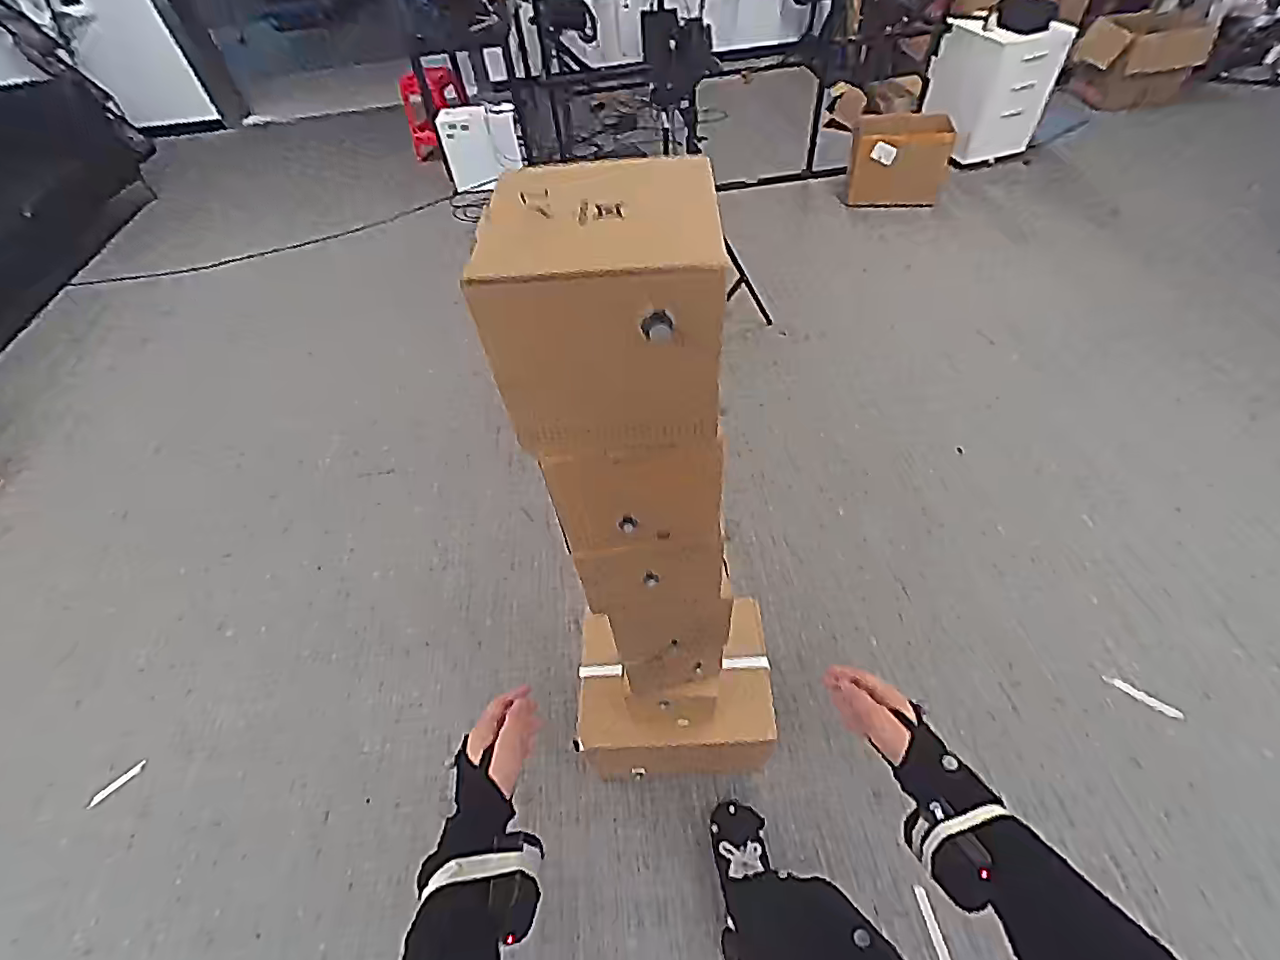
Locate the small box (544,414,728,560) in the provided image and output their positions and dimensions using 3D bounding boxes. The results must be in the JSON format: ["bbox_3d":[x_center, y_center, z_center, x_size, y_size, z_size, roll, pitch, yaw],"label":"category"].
[{"bbox_3d":[-0.004,-0.035,0.586,0.168,0.176,0.179,-6,52,0],"label":"small box"}]

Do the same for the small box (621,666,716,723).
[{"bbox_3d":[0.060,0.381,1.085,0.179,0.176,0.168,0,52,4],"label":"small box"}]

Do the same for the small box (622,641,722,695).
[{"bbox_3d":[0.042,0.268,0.969,0.168,0.176,0.179,-13,50,-6],"label":"small box"}]

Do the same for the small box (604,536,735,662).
[{"bbox_3d":[0.038,0.167,0.840,0.179,0.176,0.168,-8,51,-2],"label":"small box"}]

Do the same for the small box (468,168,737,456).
[{"bbox_3d":[-0.019,-0.135,0.456,0.179,0.176,0.168,-3,51,4],"label":"small box"}]
